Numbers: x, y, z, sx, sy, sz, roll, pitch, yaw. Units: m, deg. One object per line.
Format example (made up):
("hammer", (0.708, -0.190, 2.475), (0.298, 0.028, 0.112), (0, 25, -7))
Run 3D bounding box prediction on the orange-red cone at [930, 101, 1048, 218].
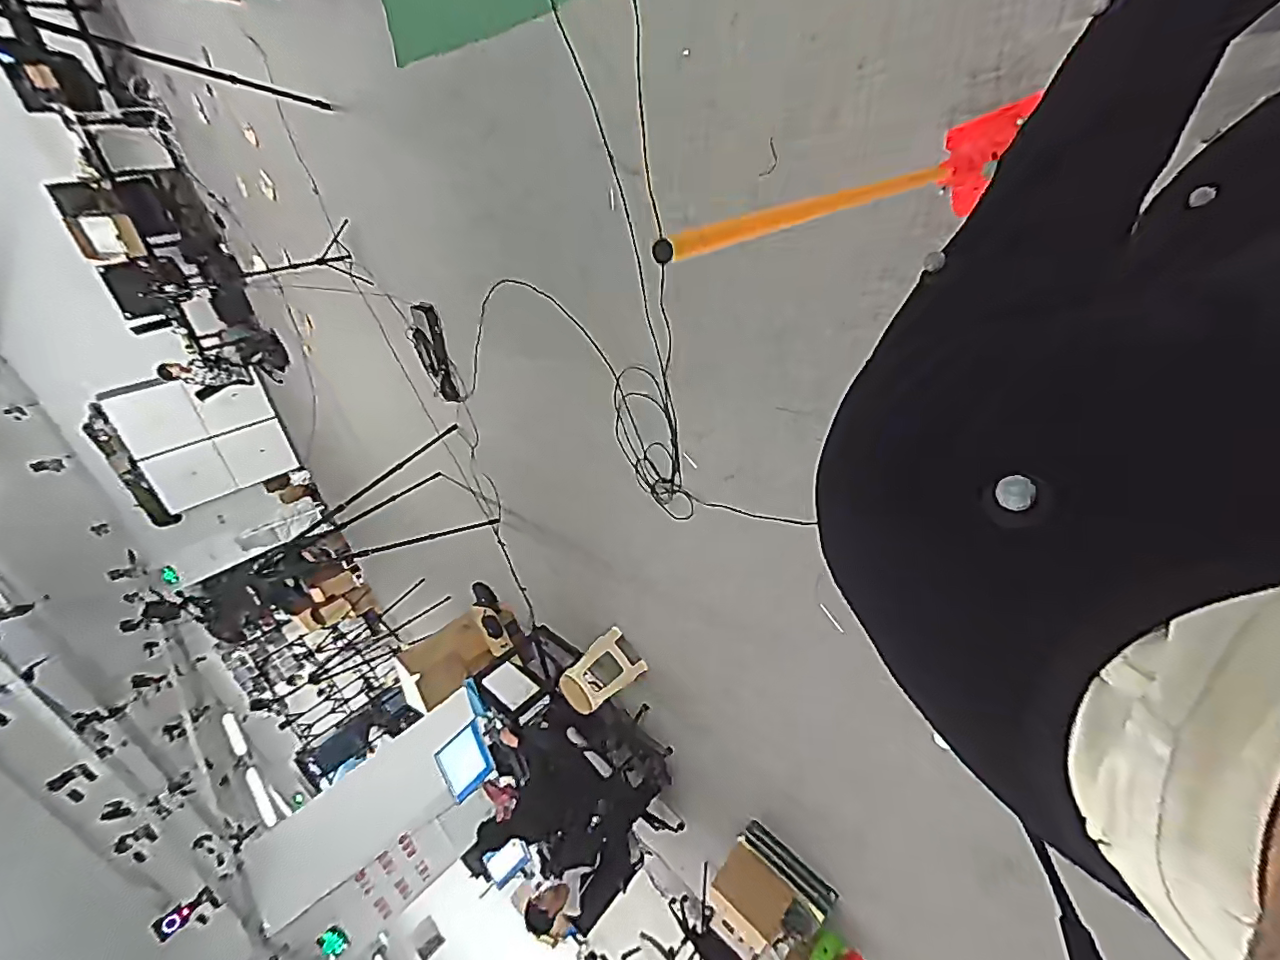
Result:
("orange-red cone", (0.698, -0.657, 1.143), (0.199, 0.360, 0.198), (5, 118, 49))
